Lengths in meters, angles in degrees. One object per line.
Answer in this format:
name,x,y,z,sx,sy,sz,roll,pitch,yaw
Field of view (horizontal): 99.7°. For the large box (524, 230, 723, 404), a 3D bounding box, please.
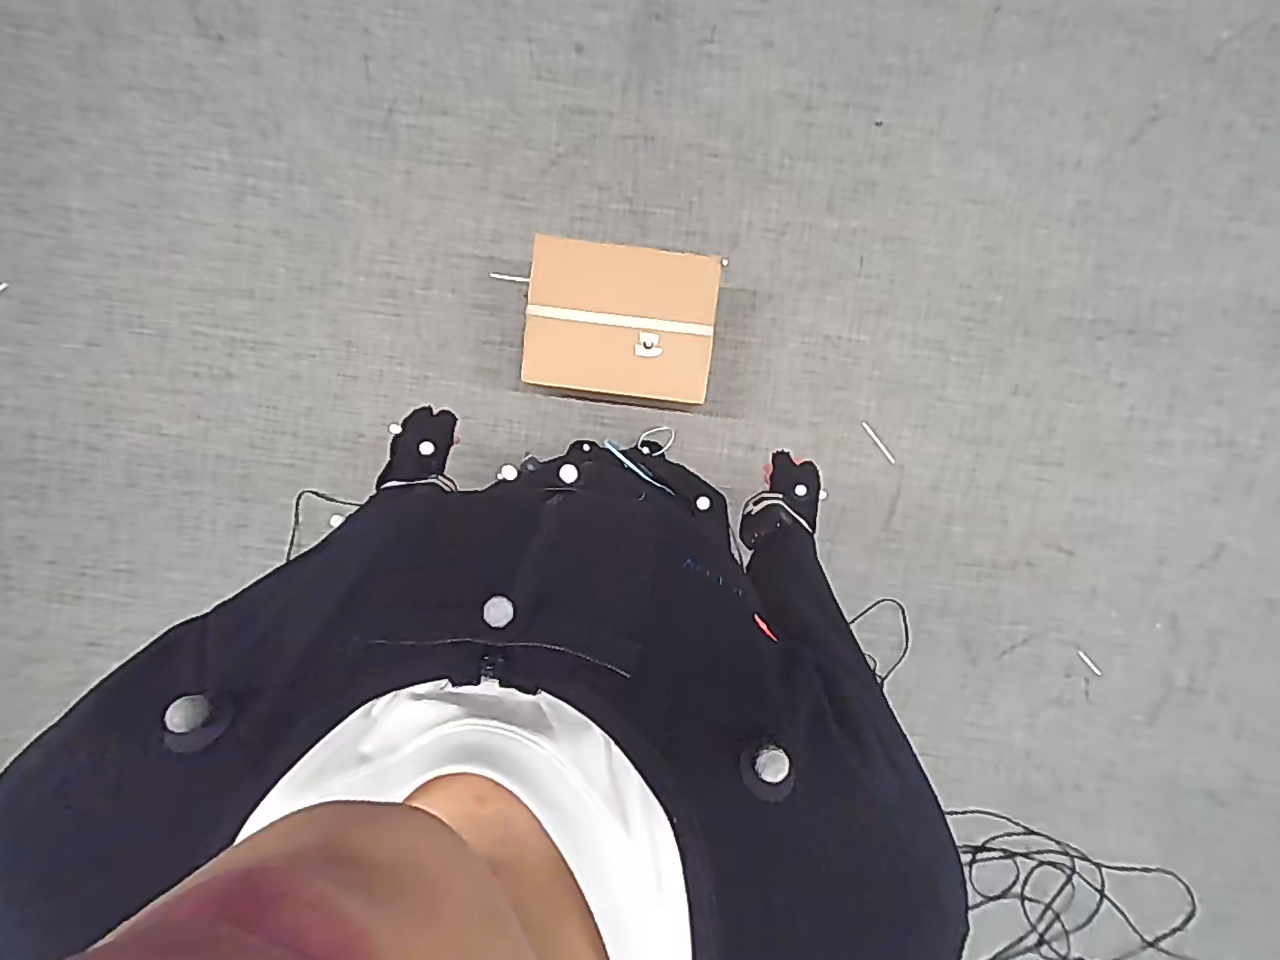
large box,-0.040,-0.367,1.304,0.408,0.320,0.320,7,95,-1
